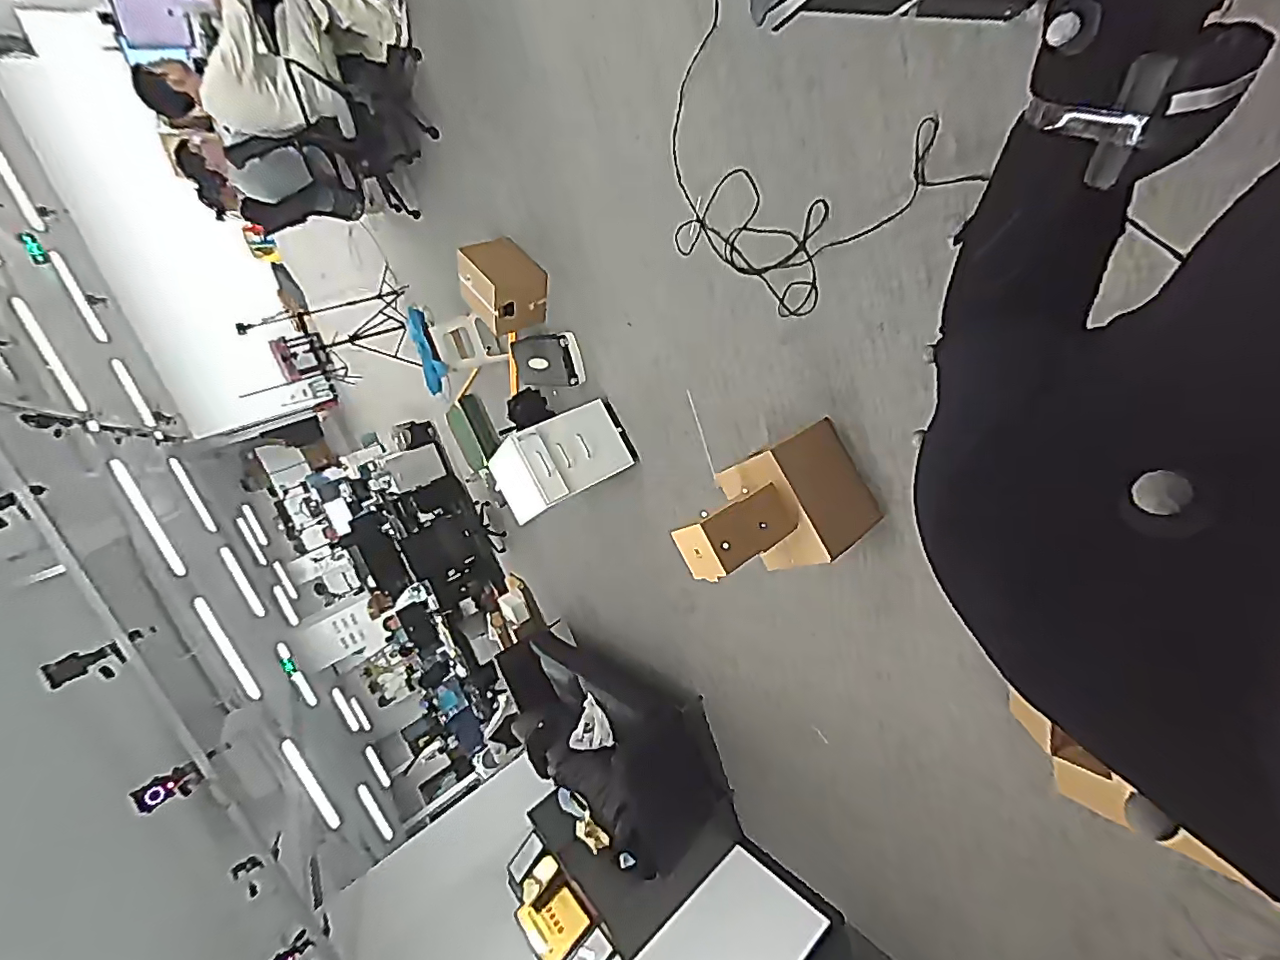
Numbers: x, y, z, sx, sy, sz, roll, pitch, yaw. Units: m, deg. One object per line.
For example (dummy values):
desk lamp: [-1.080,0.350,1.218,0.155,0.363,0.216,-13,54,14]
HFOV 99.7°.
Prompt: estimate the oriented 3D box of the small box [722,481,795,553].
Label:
small box: [0.373,0.127,1.765,0.179,0.176,0.168,63,149,0]

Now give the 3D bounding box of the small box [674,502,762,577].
small box: [0.243,0.180,1.682,0.179,0.176,0.168,62,148,-1]
